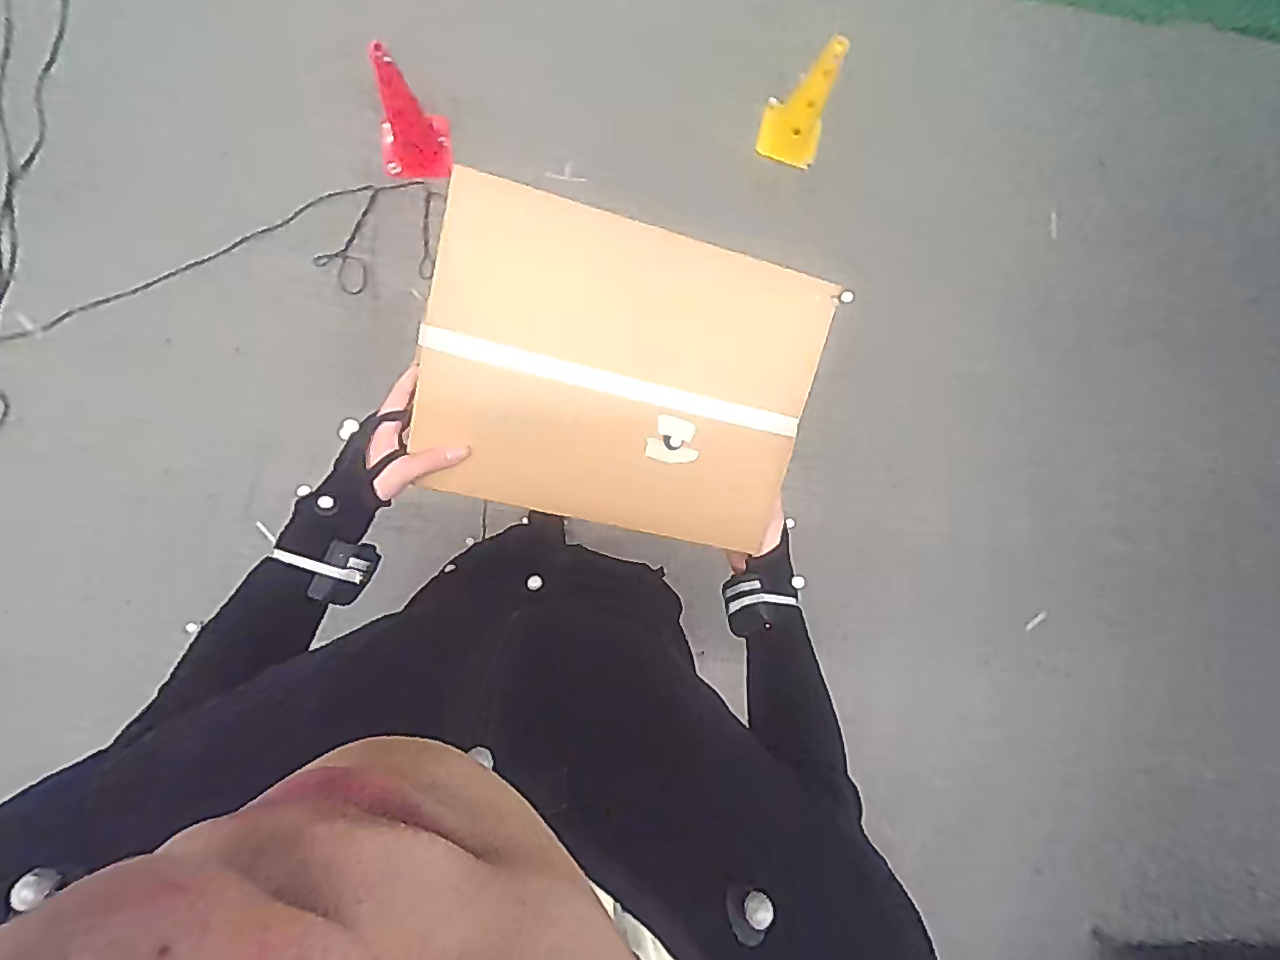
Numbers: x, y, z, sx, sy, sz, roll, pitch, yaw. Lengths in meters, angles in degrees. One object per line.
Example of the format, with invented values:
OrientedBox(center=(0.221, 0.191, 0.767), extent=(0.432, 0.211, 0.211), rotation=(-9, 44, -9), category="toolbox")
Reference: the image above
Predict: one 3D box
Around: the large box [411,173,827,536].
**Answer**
OrientedBox(center=(-0.044, -0.148, 0.719), extent=(0.408, 0.320, 0.320), rotation=(11, 103, -12), category="large box")
